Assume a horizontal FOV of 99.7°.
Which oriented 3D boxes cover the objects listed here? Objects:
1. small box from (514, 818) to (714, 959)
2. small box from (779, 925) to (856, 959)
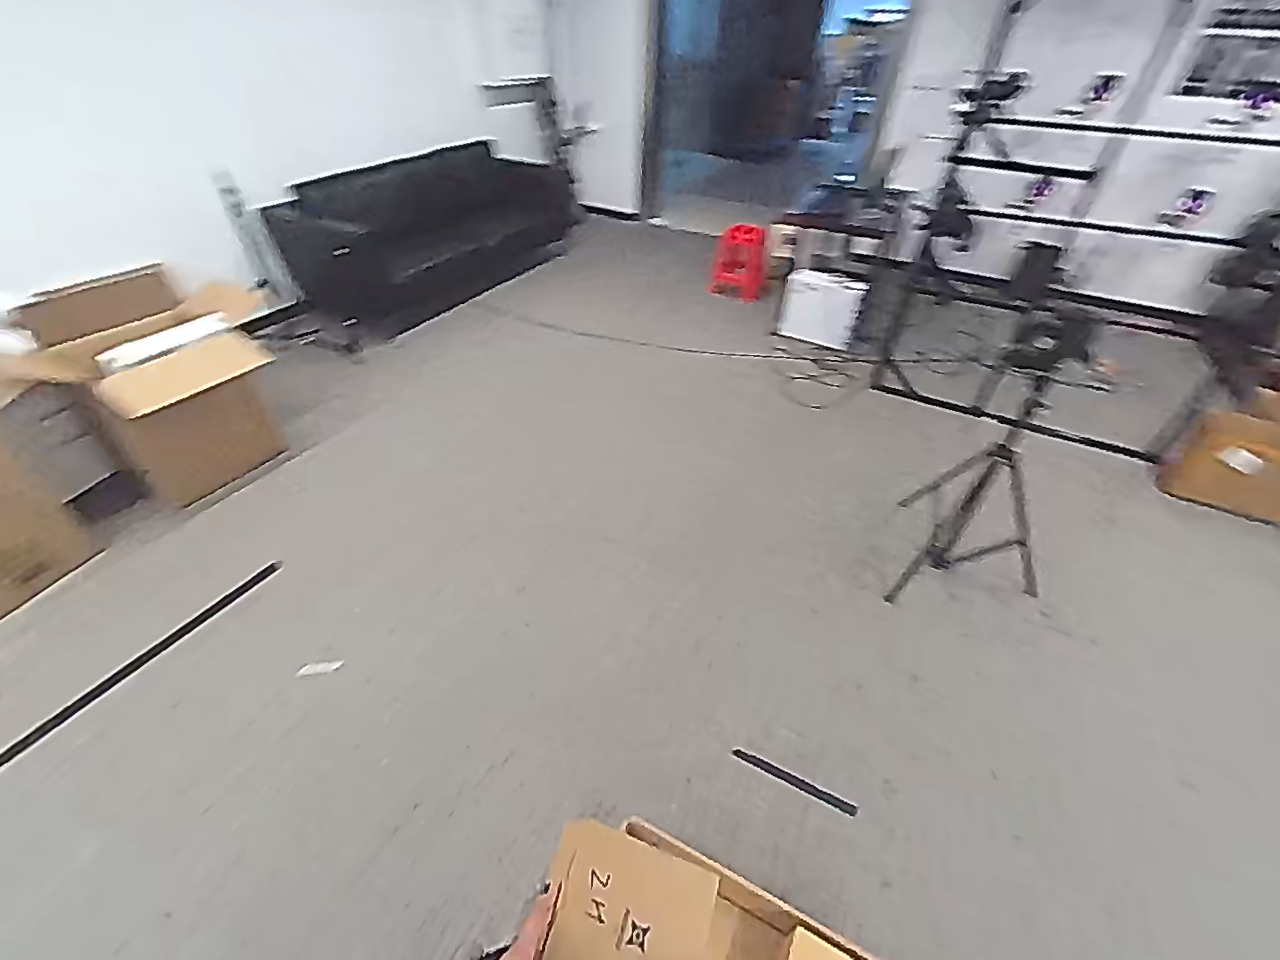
[{"bbox_3d":[-0.036,0.533,0.656,0.179,0.176,0.168,24,54,-1],"label":"small box"},{"bbox_3d":[0.364,1.072,1.107,0.168,0.176,0.179,20,46,21],"label":"small box"}]
